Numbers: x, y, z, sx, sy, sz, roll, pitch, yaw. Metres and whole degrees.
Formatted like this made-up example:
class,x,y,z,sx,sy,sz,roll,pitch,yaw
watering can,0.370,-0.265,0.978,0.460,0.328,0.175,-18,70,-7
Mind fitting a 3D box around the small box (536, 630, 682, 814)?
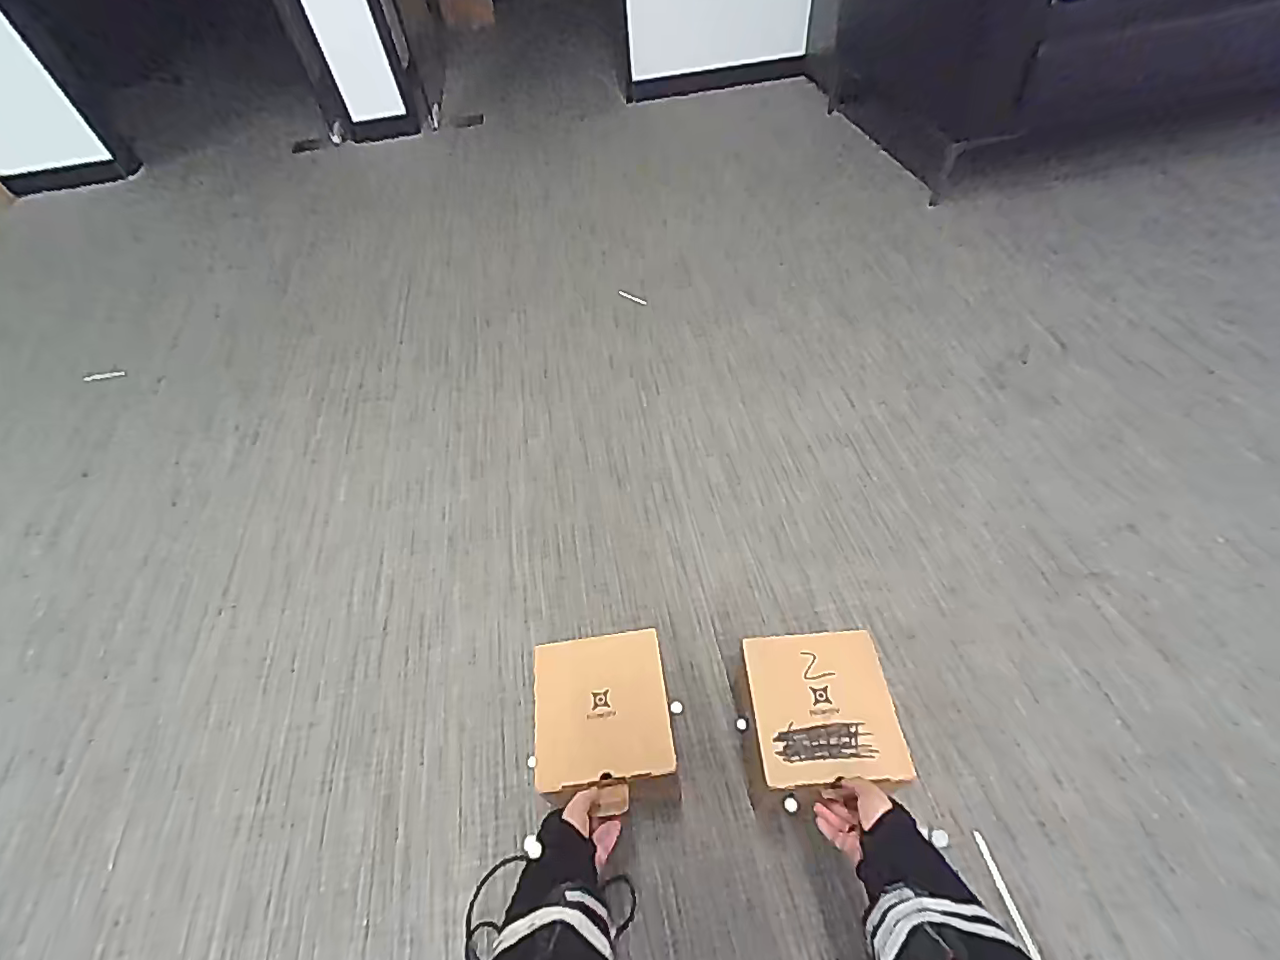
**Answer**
class,x,y,z,sx,sy,sz,roll,pitch,yaw
small box,-0.040,0.330,0.732,0.168,0.176,0.179,-11,51,1
